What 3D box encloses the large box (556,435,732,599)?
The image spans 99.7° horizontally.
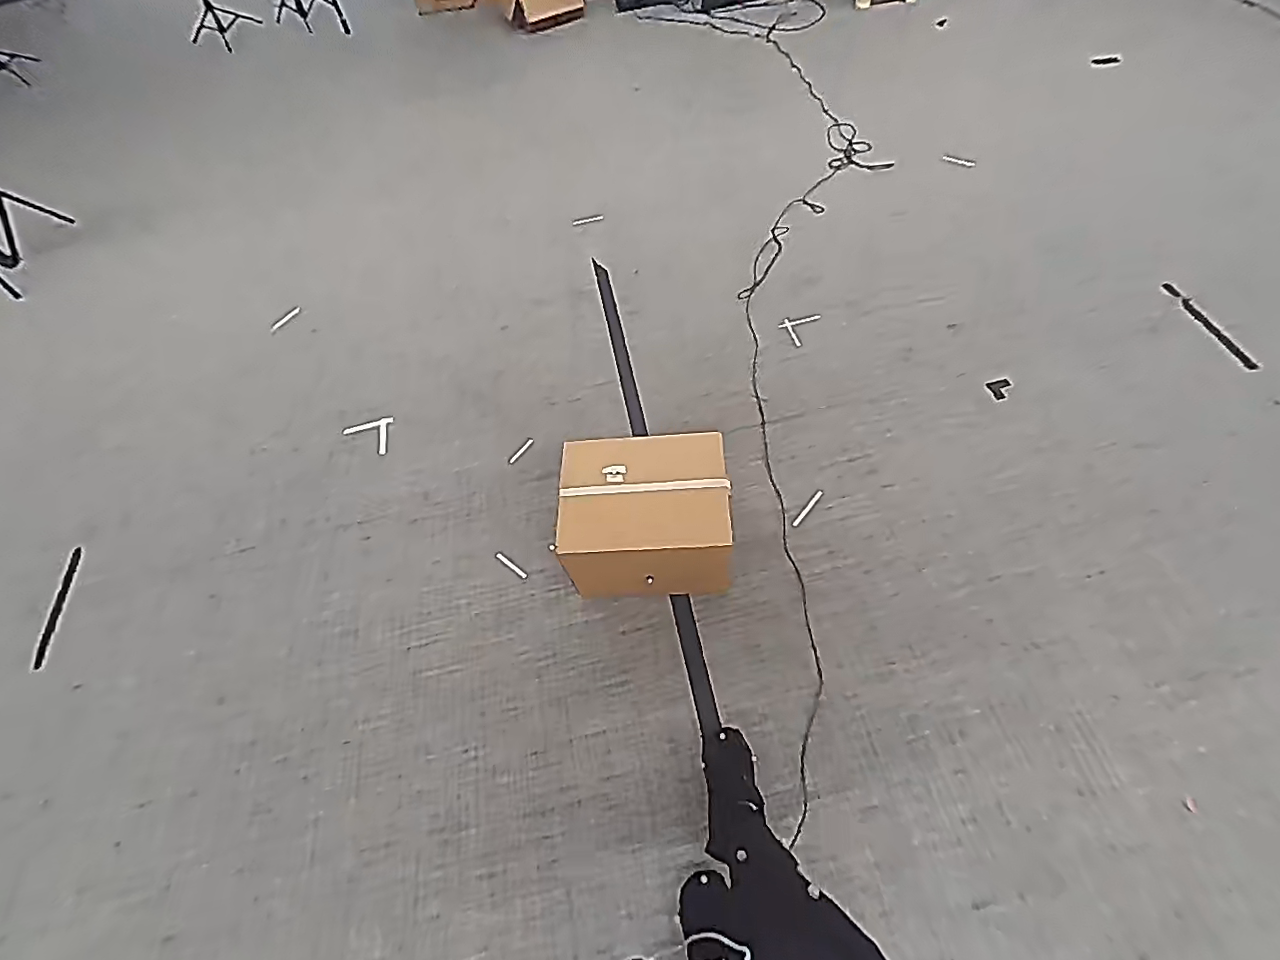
[{"bbox_3d":[0.024,0.110,1.413,0.408,0.320,0.320,-4,58,7],"label":"large box"}]
